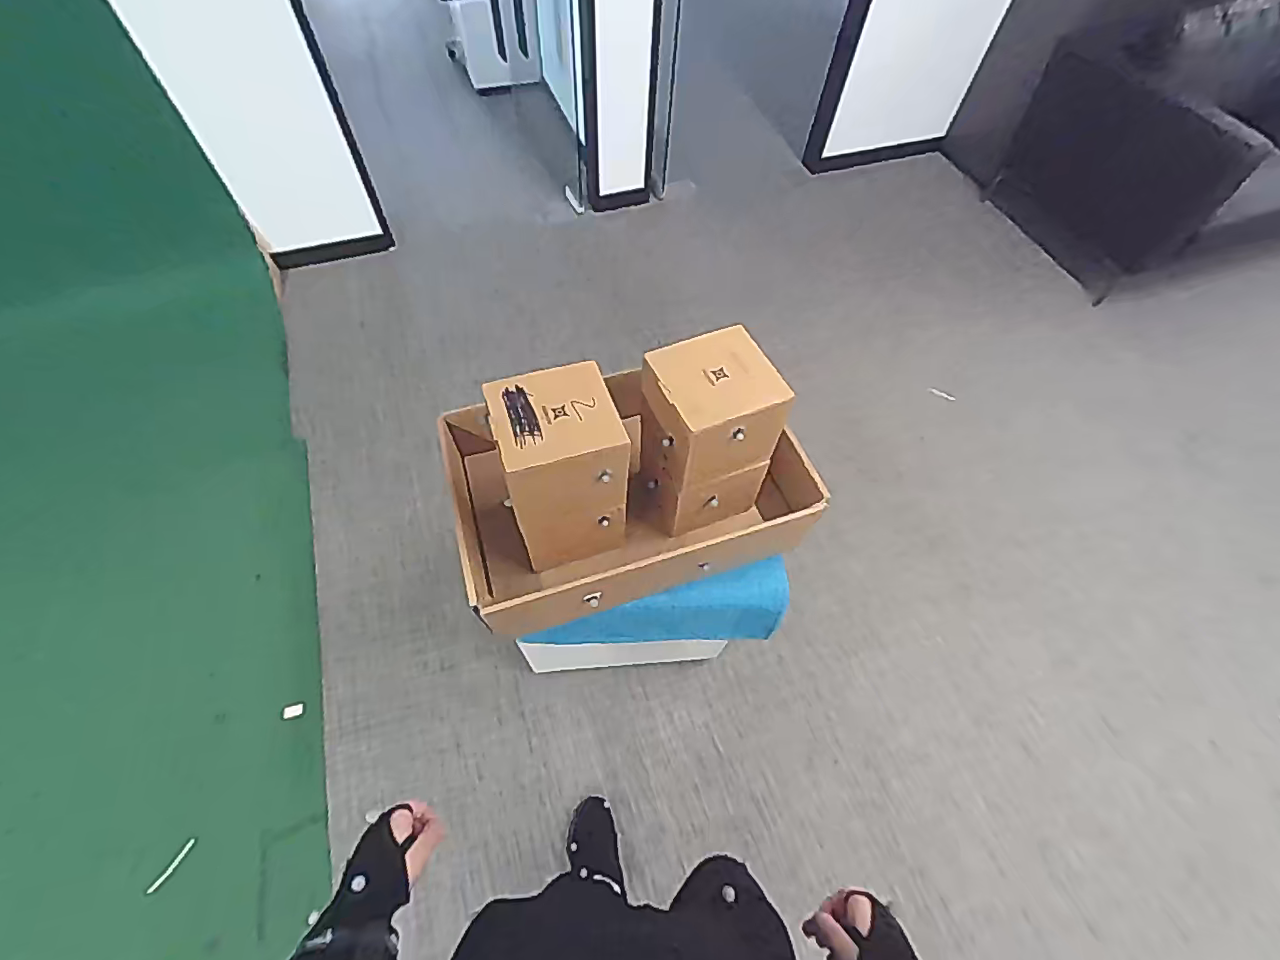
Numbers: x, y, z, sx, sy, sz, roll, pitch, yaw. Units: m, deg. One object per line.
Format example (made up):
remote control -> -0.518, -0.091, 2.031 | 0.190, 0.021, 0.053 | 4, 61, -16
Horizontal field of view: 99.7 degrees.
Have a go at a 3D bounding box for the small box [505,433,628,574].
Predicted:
small box -> -0.128, 0.047, 0.968 | 0.179, 0.176, 0.168 | -16, 59, -13

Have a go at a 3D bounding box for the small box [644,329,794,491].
small box -> 0.117, -0.107, 0.874 | 0.179, 0.176, 0.168 | -20, 60, -13
